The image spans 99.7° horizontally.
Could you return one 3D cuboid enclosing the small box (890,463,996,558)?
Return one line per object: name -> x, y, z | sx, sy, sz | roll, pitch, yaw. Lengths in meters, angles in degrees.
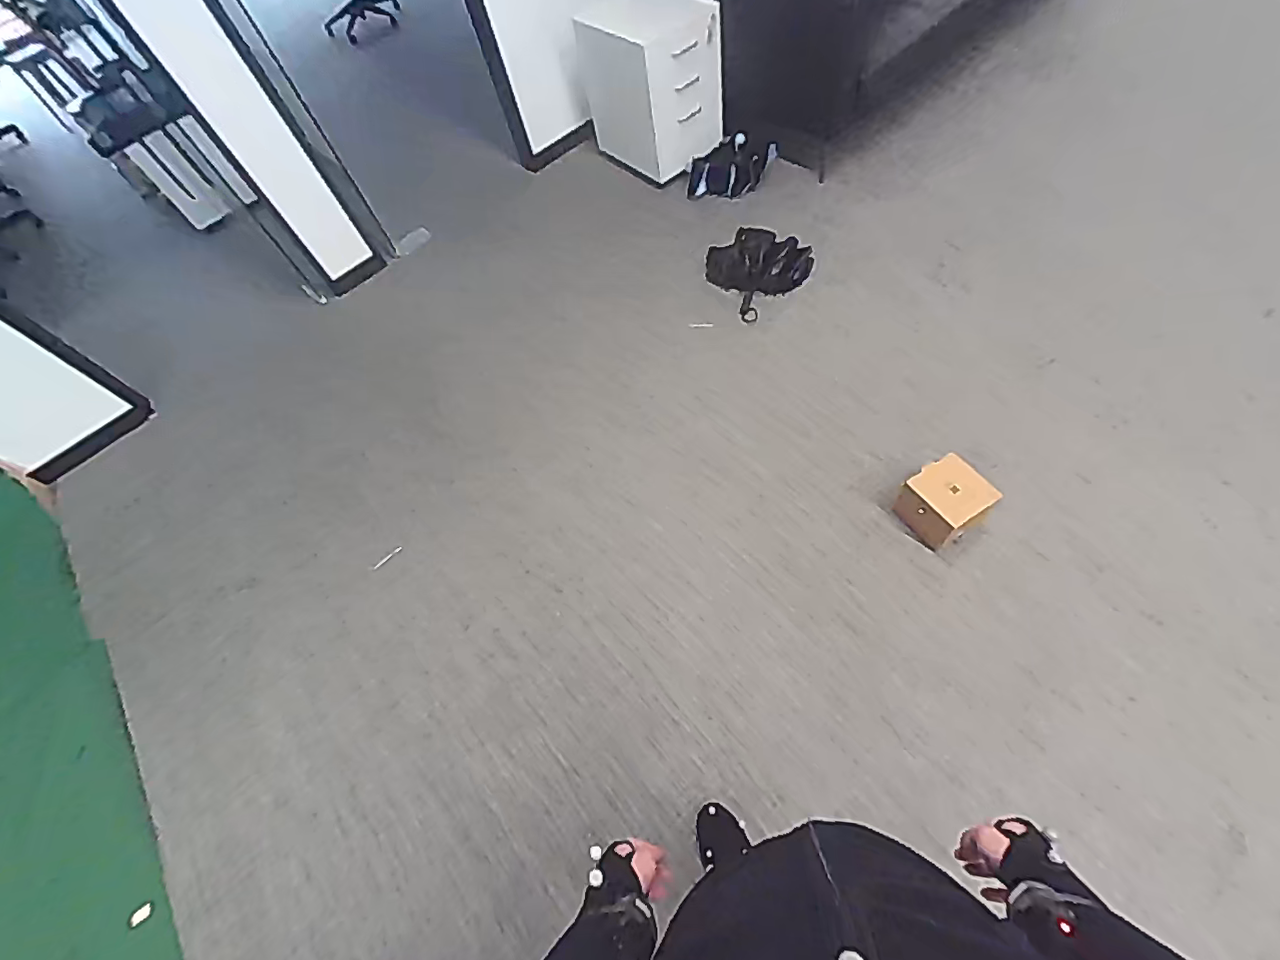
small box -> 0.843, 0.090, 1.527 | 0.168, 0.176, 0.179 | -31, 60, -8
